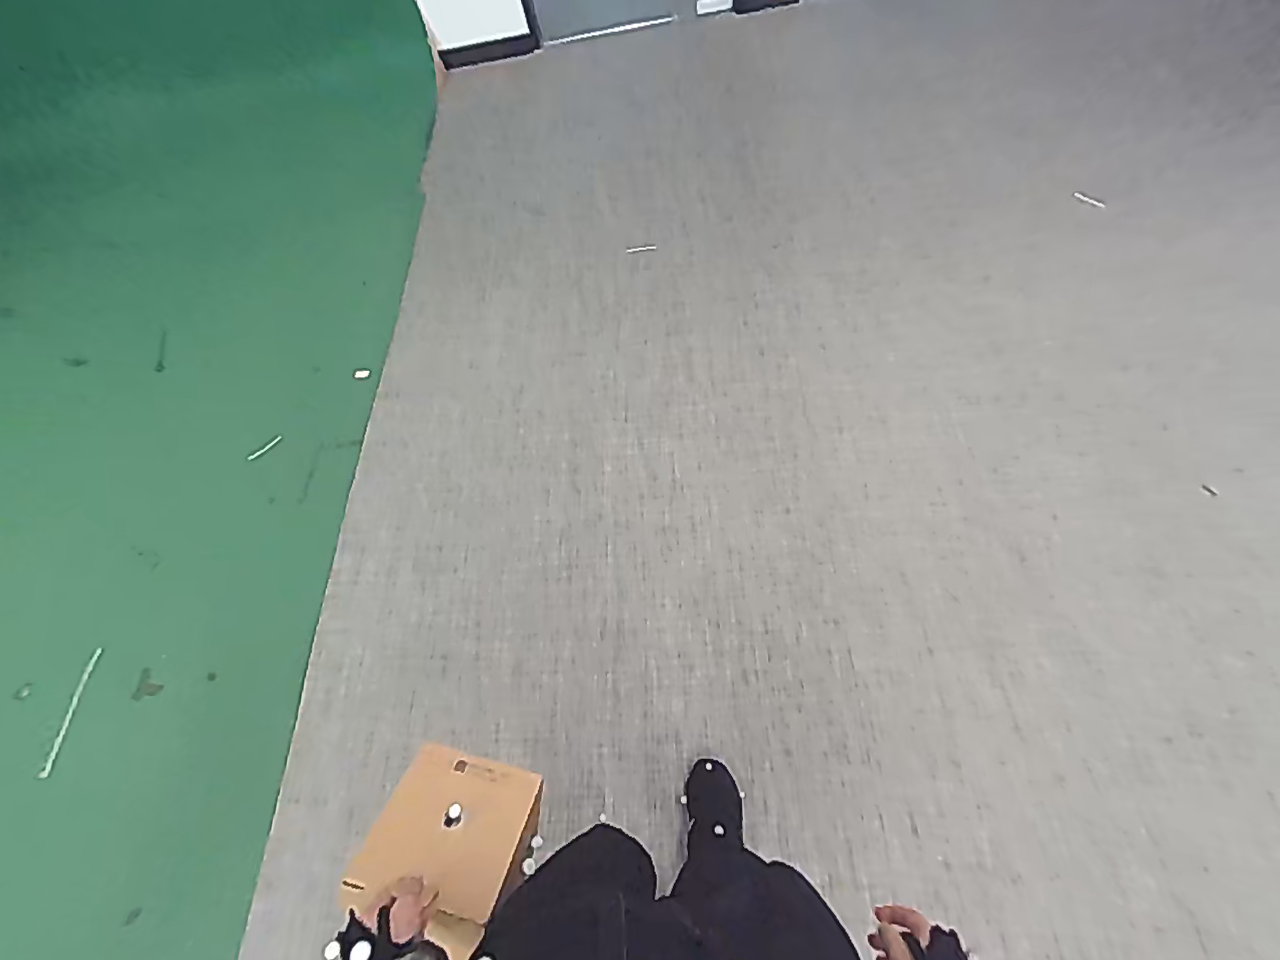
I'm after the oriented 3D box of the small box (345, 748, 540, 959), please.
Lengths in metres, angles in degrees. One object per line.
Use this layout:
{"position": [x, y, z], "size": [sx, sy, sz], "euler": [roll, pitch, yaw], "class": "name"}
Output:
{"position": [-0.229, 0.468, 0.671], "size": [0.168, 0.179, 0.176], "euler": [13, 31, 4], "class": "small box"}
